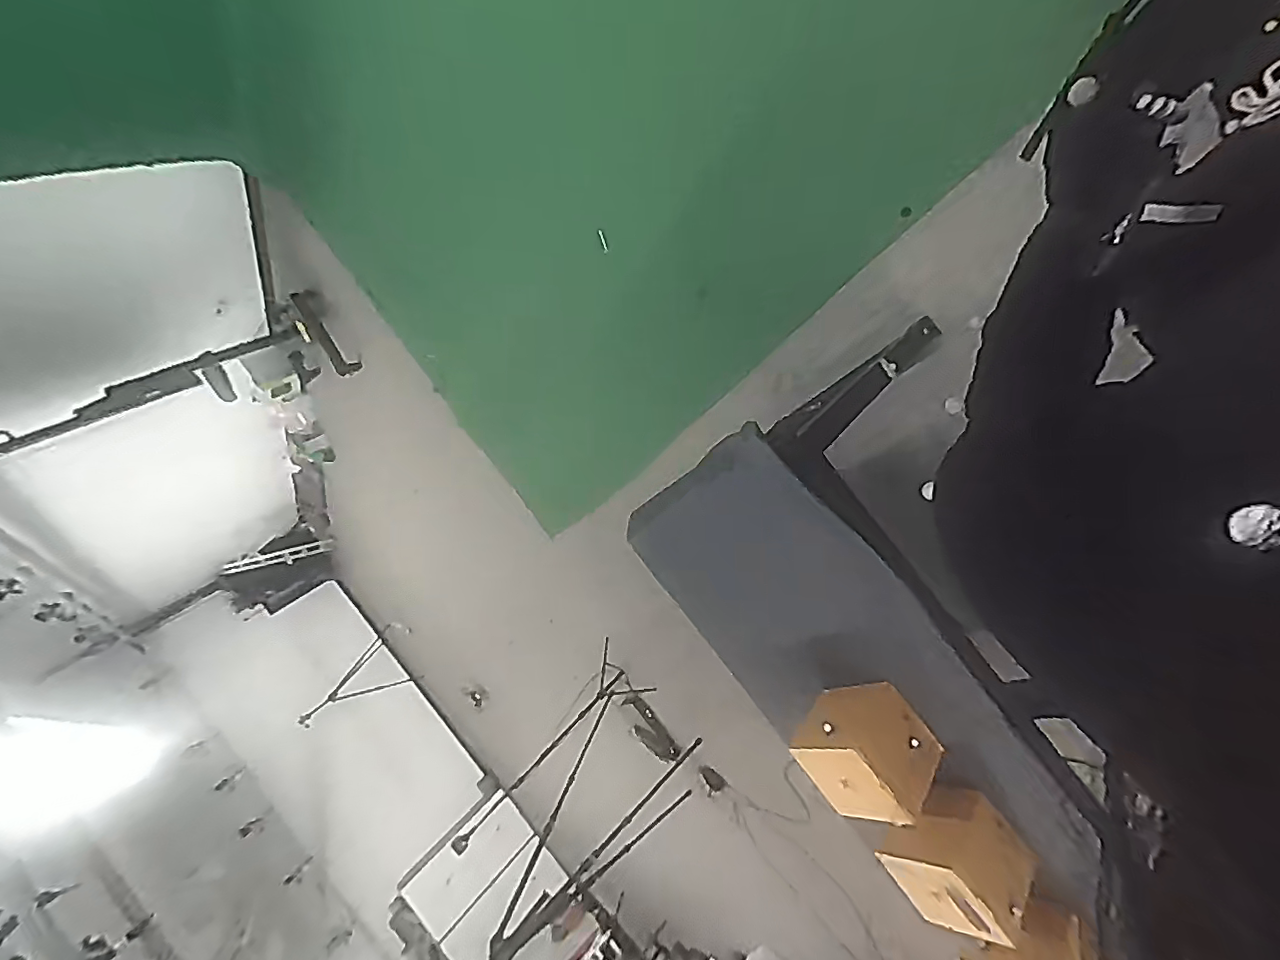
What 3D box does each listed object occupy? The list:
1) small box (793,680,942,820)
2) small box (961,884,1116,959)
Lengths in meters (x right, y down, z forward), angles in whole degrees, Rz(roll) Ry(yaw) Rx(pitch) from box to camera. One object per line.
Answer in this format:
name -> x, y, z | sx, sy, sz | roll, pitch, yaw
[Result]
small box -> 0.439, 0.512, 1.042 | 0.168, 0.176, 0.179 | 51, 143, 3
small box -> 0.754, 0.910, 1.012 | 0.168, 0.176, 0.179 | 54, 145, 0
